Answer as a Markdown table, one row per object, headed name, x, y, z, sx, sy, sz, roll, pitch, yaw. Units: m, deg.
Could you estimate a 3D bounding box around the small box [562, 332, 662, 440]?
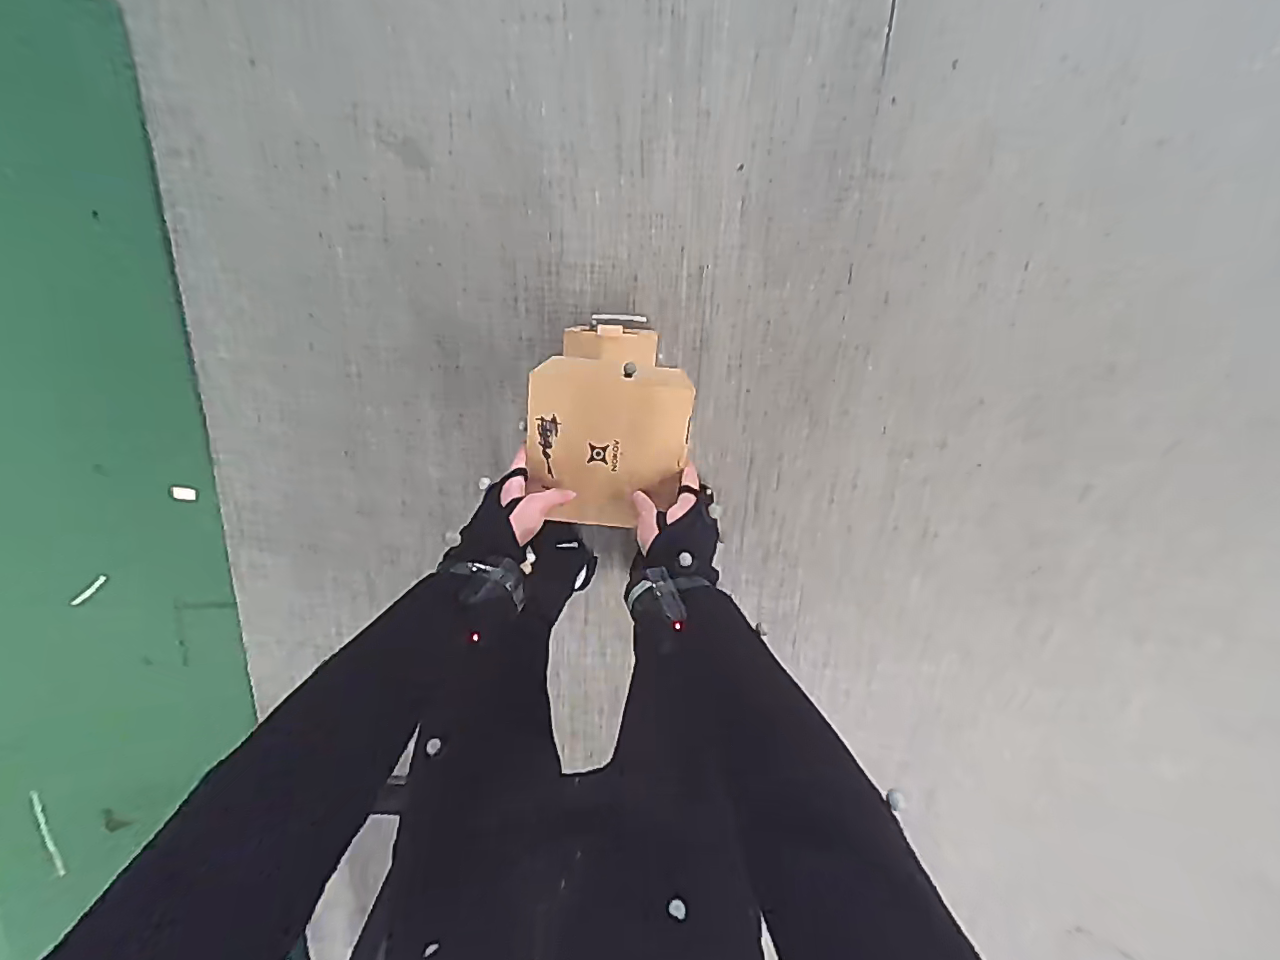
| name | x | y | z | sx | sy | sz | roll | pitch | yaw |
| --- | --- | --- | --- | --- | --- | --- | --- | --- | --- |
| small box | -0.049 | -0.184 | 1.025 | 0.168 | 0.176 | 0.179 | 6 | 107 | 1 |
